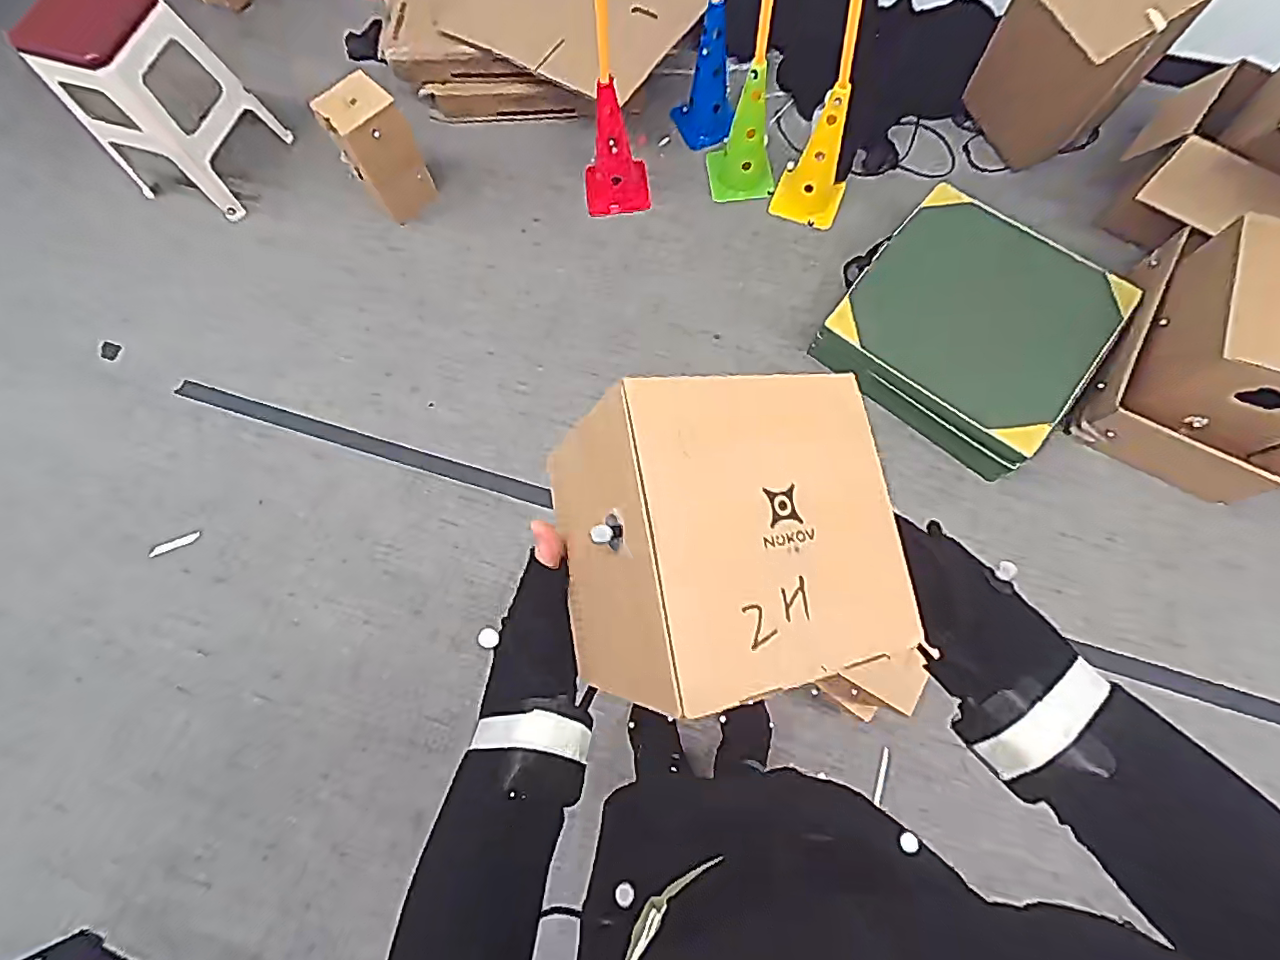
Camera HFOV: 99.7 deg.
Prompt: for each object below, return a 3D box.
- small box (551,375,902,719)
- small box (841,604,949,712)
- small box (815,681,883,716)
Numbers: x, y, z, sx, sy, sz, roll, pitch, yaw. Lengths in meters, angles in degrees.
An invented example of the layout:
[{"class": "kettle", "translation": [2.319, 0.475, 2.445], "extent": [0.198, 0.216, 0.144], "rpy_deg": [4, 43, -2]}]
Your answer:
[{"class": "small box", "translation": [0.040, 0.043, 0.372], "extent": [0.168, 0.176, 0.179], "rpy_deg": [-2, 80, -22]}, {"class": "small box", "translation": [0.463, 0.334, 1.080], "extent": [0.179, 0.176, 0.168], "rpy_deg": [30, 78, 10]}, {"class": "small box", "translation": [0.465, 0.407, 1.230], "extent": [0.179, 0.176, 0.168], "rpy_deg": [33, 77, 10]}]
